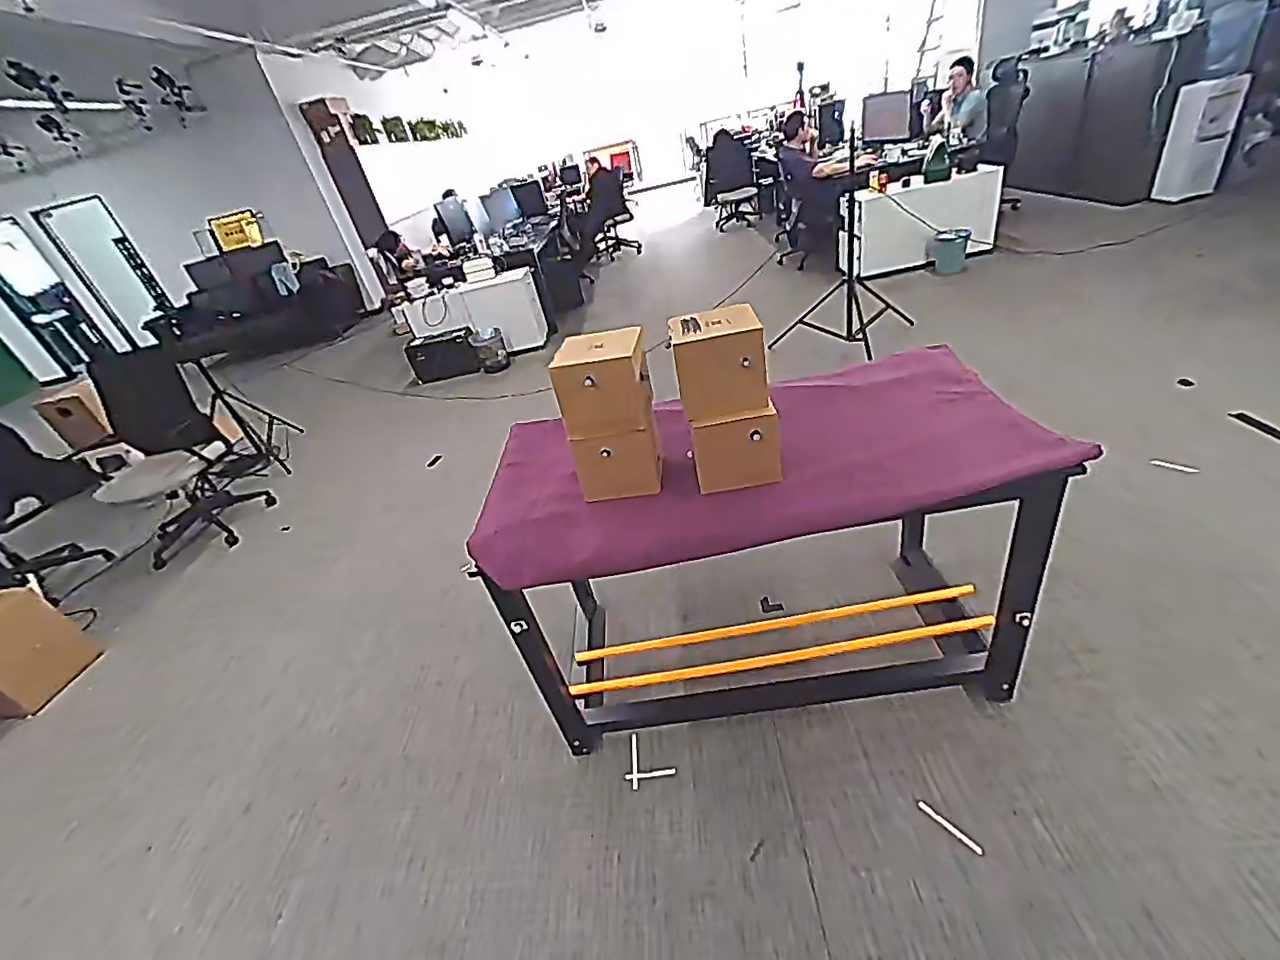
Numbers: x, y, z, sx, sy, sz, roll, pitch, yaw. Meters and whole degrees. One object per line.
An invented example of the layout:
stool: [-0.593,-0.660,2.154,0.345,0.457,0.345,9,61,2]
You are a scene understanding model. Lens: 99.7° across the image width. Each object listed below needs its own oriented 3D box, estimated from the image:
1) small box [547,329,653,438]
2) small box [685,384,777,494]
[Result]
small box: [-0.075,-0.205,1.161,0.179,0.176,0.168,-6,33,12]
small box: [0.199,-0.090,1.186,0.179,0.176,0.168,-10,32,6]
